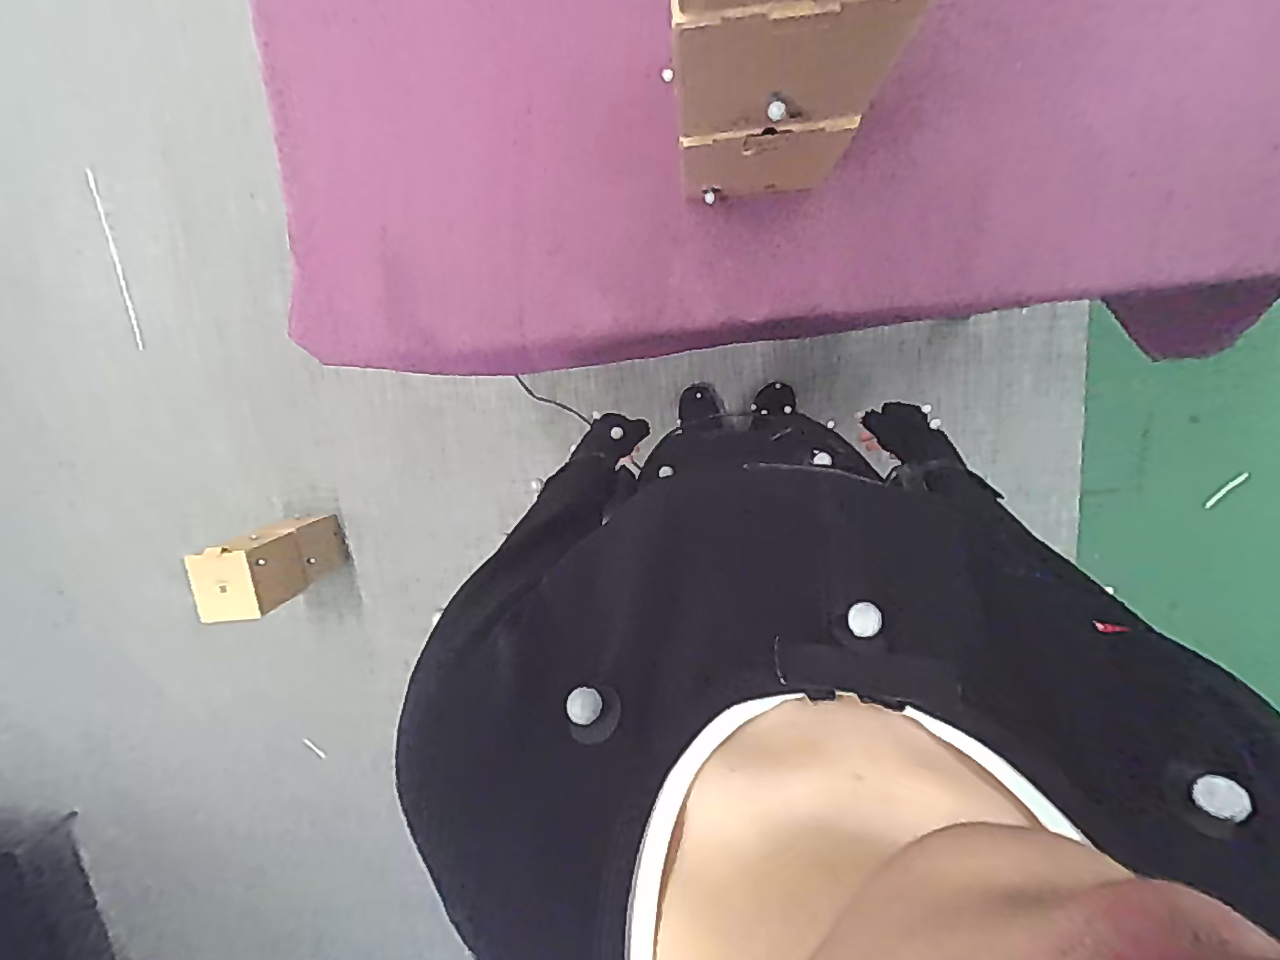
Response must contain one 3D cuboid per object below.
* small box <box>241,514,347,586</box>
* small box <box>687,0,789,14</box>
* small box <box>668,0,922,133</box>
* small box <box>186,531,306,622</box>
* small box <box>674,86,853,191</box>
[{"bbox_3d":[-0.977,0.200,1.540,0.179,0.176,0.168,-6,100,7],"label":"small box"},{"bbox_3d":[0.087,-0.375,0.249,0.168,0.176,0.179,-3,100,7],"label":"small box"},{"bbox_3d":[0.103,-0.401,0.409,0.168,0.176,0.179,-3,101,7],"label":"small box"},{"bbox_3d":[-0.994,0.243,1.382,0.168,0.176,0.179,-6,100,6],"label":"small box"},{"bbox_3d":[0.121,-0.423,0.571,0.168,0.176,0.179,-3,100,6],"label":"small box"}]
